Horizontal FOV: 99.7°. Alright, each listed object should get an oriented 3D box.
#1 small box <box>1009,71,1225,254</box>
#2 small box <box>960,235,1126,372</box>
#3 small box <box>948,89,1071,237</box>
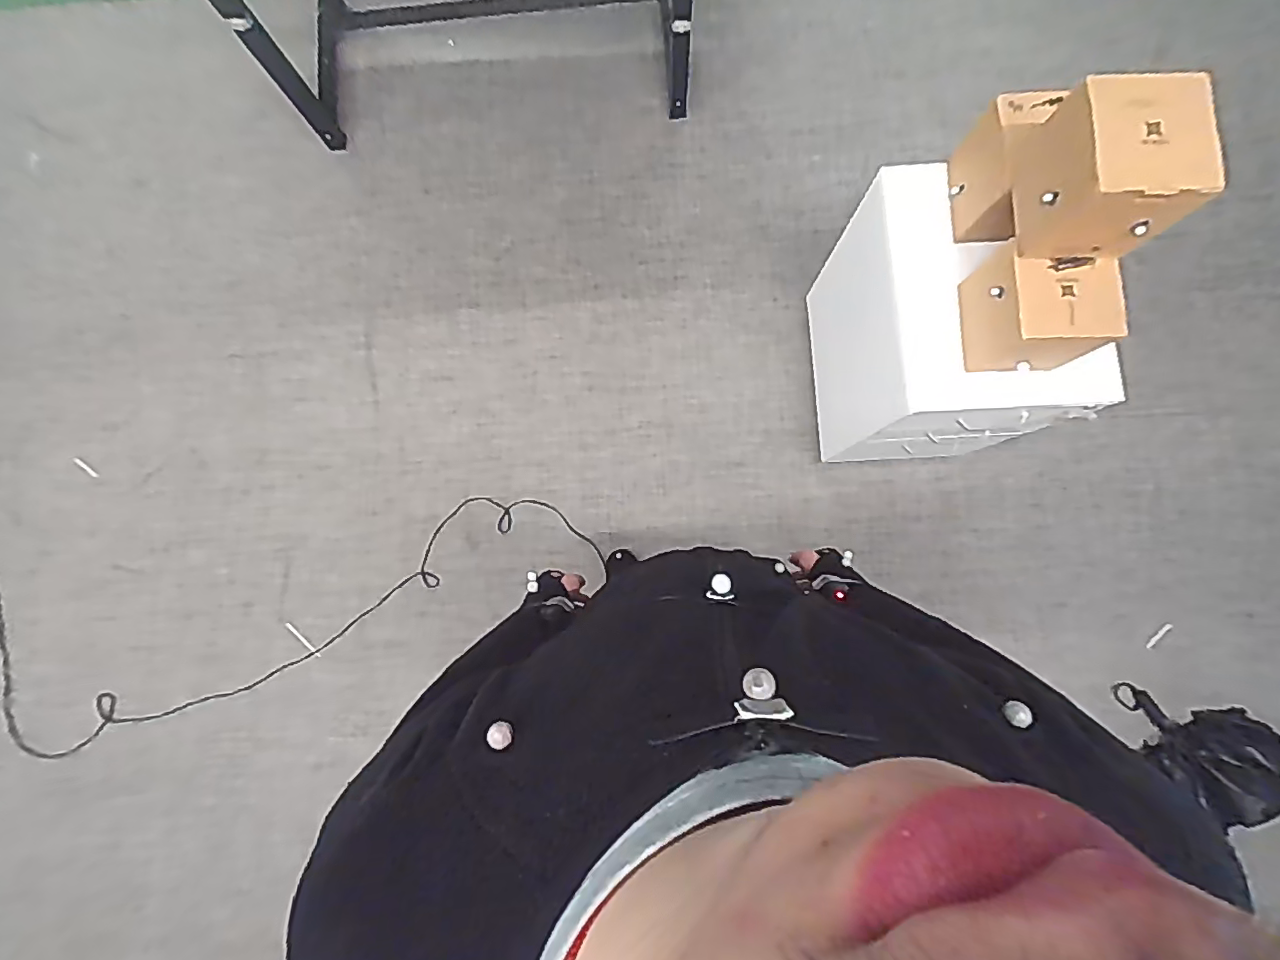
[{"bbox_3d":[0.684,-0.454,0.797,0.168,0.176,0.179,0,82,1],"label":"small box"},{"bbox_3d":[0.684,-0.300,0.940,0.168,0.176,0.179,0,83,2],"label":"small box"},{"bbox_3d":[0.684,-0.558,0.974,0.168,0.176,0.179,-2,85,1],"label":"small box"}]
